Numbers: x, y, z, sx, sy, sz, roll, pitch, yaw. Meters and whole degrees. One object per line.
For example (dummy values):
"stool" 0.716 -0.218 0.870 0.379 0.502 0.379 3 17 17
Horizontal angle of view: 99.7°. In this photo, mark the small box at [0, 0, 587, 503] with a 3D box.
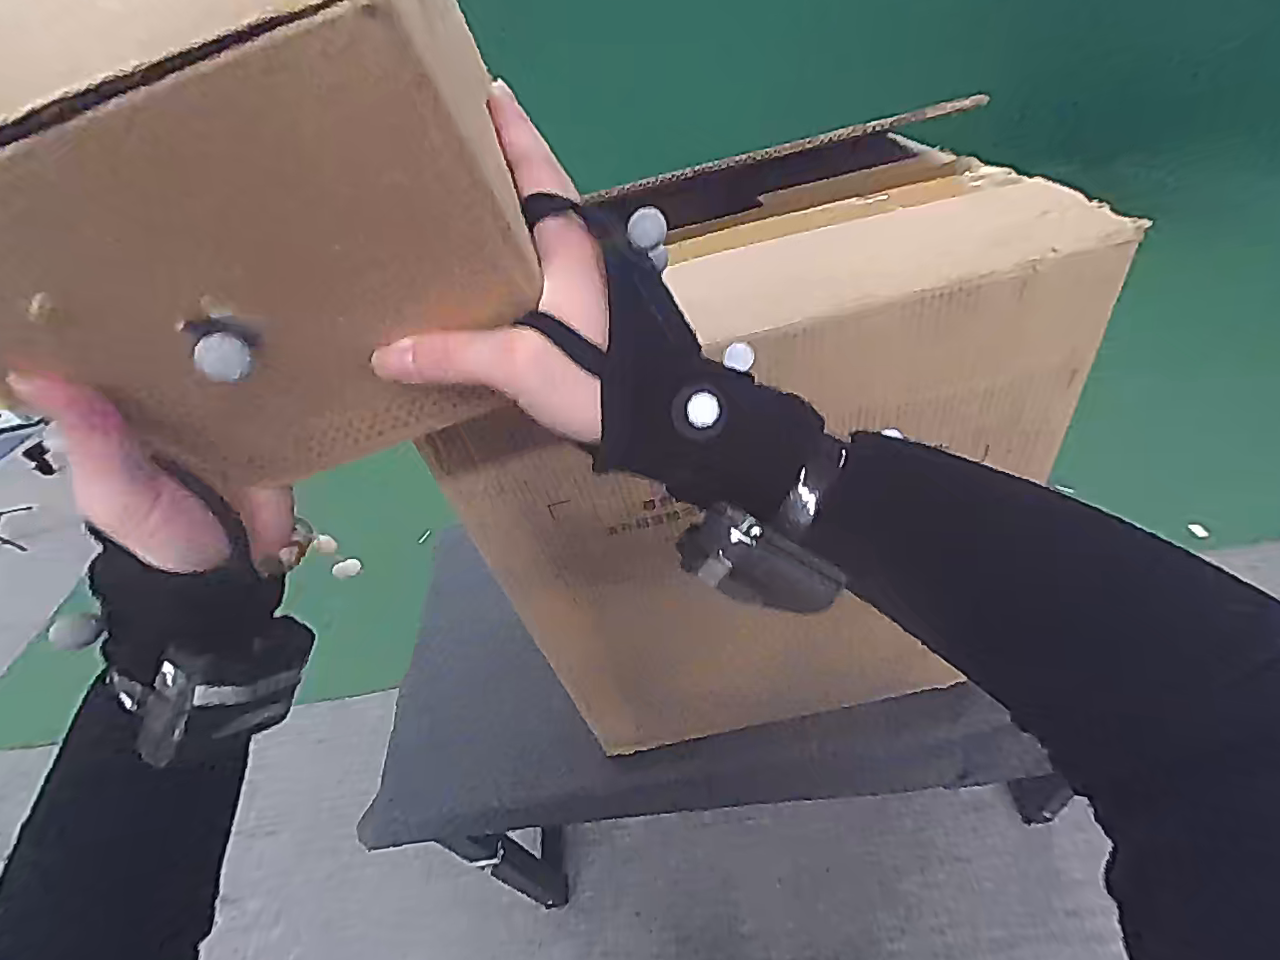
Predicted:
"small box" -0.140 -0.106 0.217 0.179 0.176 0.168 -20 71 3
